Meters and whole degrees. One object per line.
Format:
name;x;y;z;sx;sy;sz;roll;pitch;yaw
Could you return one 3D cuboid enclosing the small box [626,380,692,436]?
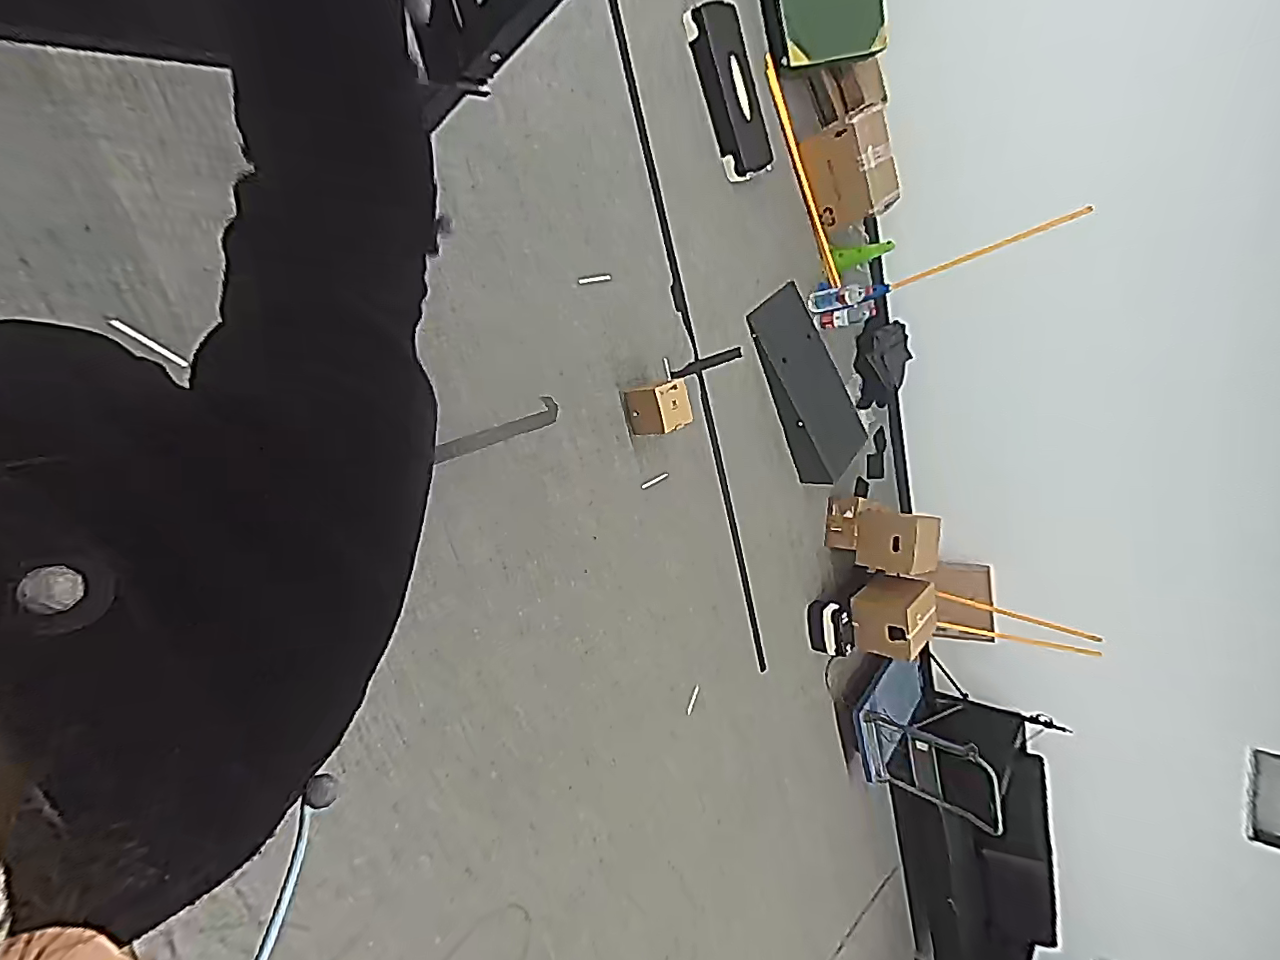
small box;0.070;-0.277;2.071;0.168;0.176;0.179;-28;111;-40
